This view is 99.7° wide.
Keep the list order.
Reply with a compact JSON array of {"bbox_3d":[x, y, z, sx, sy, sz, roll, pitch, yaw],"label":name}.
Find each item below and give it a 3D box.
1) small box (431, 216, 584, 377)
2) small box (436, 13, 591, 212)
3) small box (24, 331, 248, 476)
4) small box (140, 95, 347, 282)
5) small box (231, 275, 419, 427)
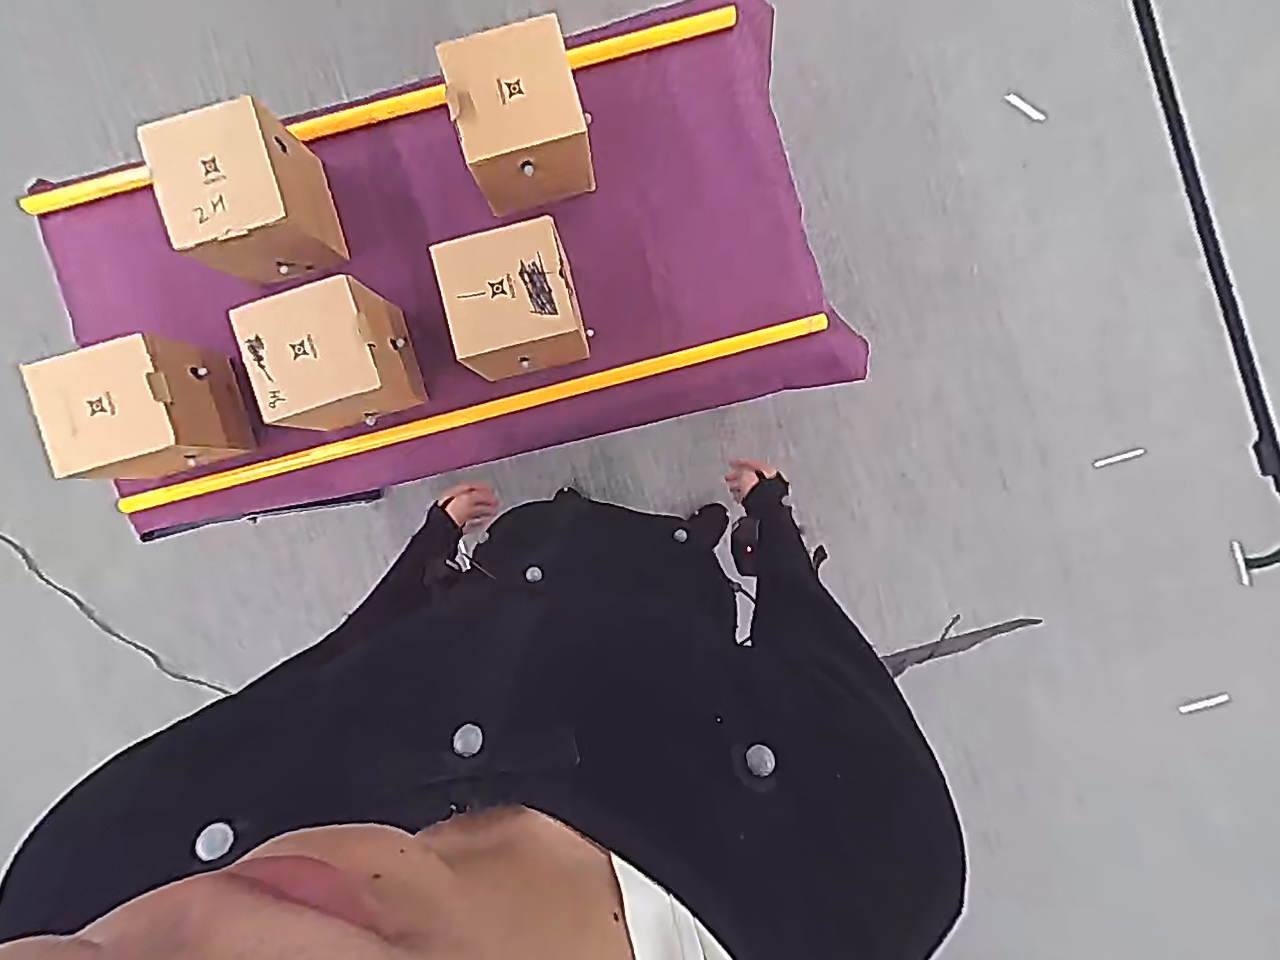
[{"bbox_3d":[-0.188,-0.267,0.825,0.179,0.176,0.168,-13,90,1],"label":"small box"},{"bbox_3d":[-0.177,-0.541,0.820,0.179,0.176,0.168,-15,92,1],"label":"small box"},{"bbox_3d":[-0.746,-0.109,0.827,0.179,0.176,0.168,-16,91,-2],"label":"small box"},{"bbox_3d":[-0.585,-0.428,0.822,0.168,0.176,0.179,-15,93,1],"label":"small box"},{"bbox_3d":[-0.461,-0.186,0.828,0.179,0.176,0.168,-17,91,-1],"label":"small box"}]
